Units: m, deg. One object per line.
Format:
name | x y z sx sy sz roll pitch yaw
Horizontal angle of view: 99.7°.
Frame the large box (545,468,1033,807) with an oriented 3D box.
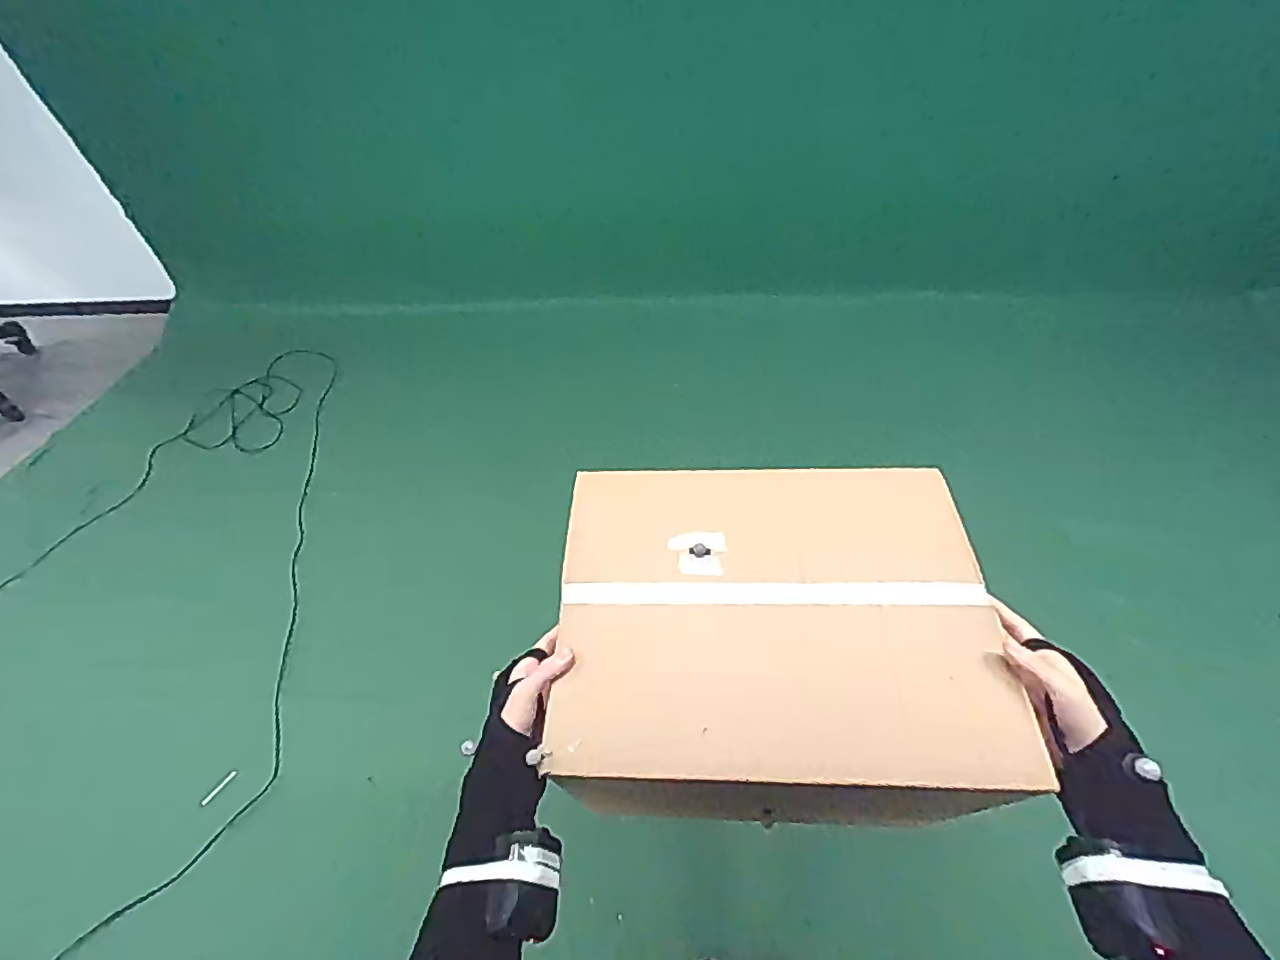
large box | 0.133 0.203 0.648 0.408 0.320 0.320 -1 53 5
